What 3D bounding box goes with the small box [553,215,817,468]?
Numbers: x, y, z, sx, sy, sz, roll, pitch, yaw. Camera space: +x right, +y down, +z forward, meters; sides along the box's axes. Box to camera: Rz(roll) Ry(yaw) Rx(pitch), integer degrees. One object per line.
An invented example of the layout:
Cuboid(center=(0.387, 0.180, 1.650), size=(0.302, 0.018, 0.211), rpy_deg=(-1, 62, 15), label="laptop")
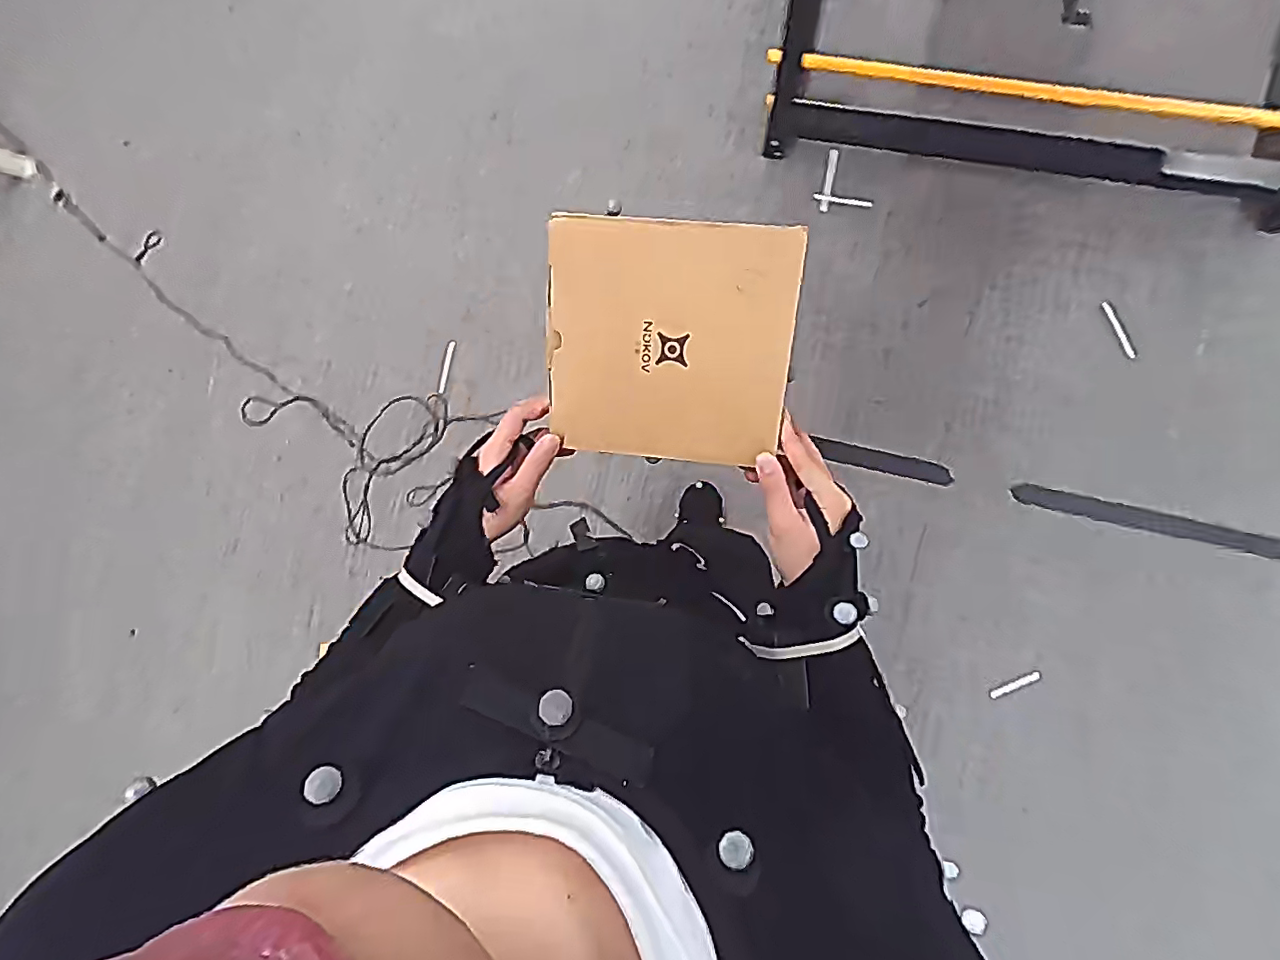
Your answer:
Cuboid(center=(0.036, -0.121, 0.458), size=(0.179, 0.176, 0.168), rpy_deg=(7, 110, 8), label="small box")
